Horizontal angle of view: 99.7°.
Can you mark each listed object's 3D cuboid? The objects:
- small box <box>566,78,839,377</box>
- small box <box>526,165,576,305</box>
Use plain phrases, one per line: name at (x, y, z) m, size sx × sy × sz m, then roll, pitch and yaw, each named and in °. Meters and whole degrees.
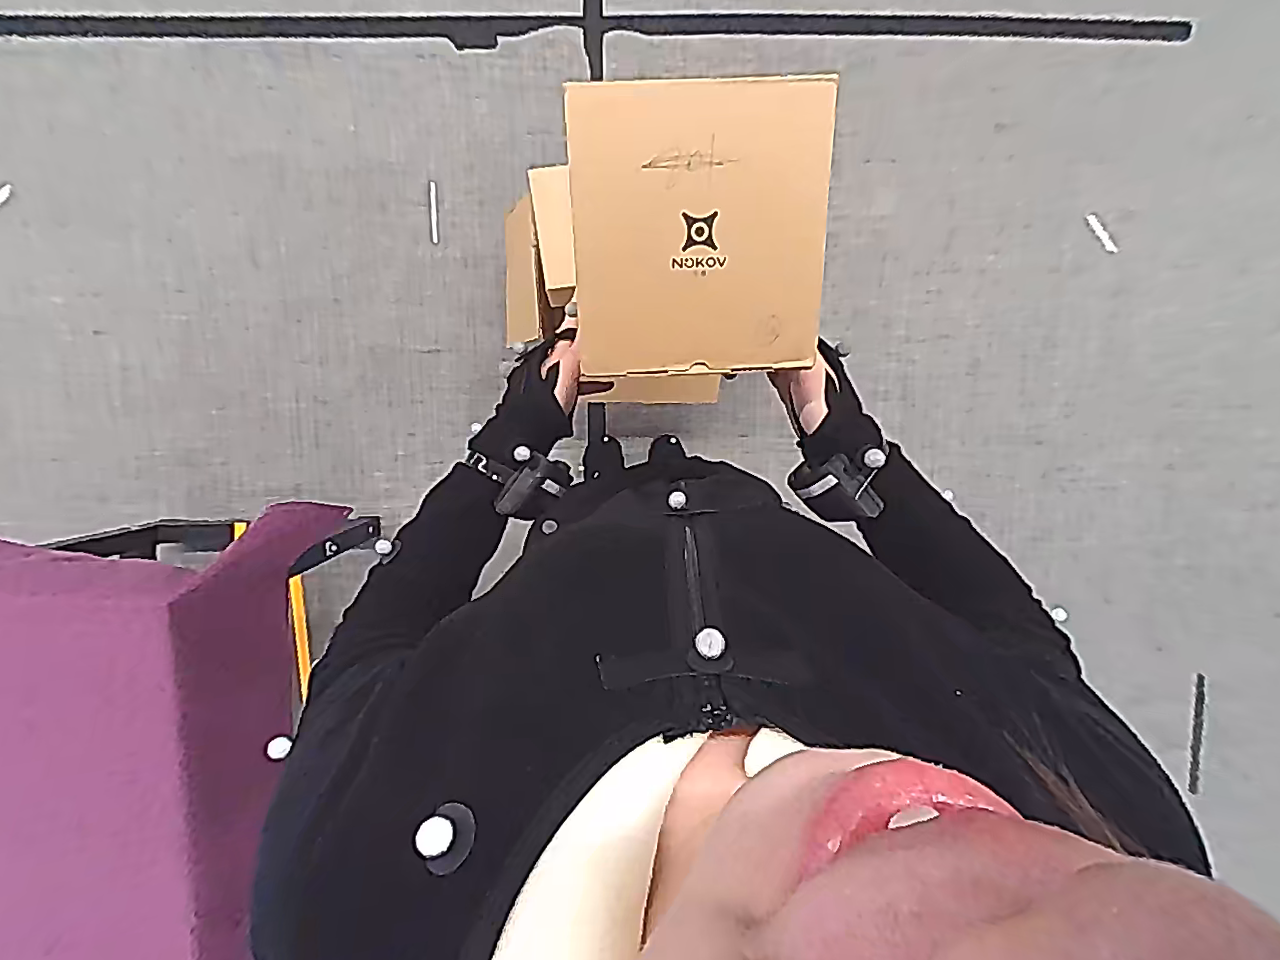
small box at (0.037, -0.182, 0.423) m, size 0.168 × 0.176 × 0.179 m, roll -2°, pitch 109°, yaw -1°
small box at (-0.074, -0.381, 0.859) m, size 0.179 × 0.176 × 0.168 m, roll -9°, pitch 100°, yaw -5°
